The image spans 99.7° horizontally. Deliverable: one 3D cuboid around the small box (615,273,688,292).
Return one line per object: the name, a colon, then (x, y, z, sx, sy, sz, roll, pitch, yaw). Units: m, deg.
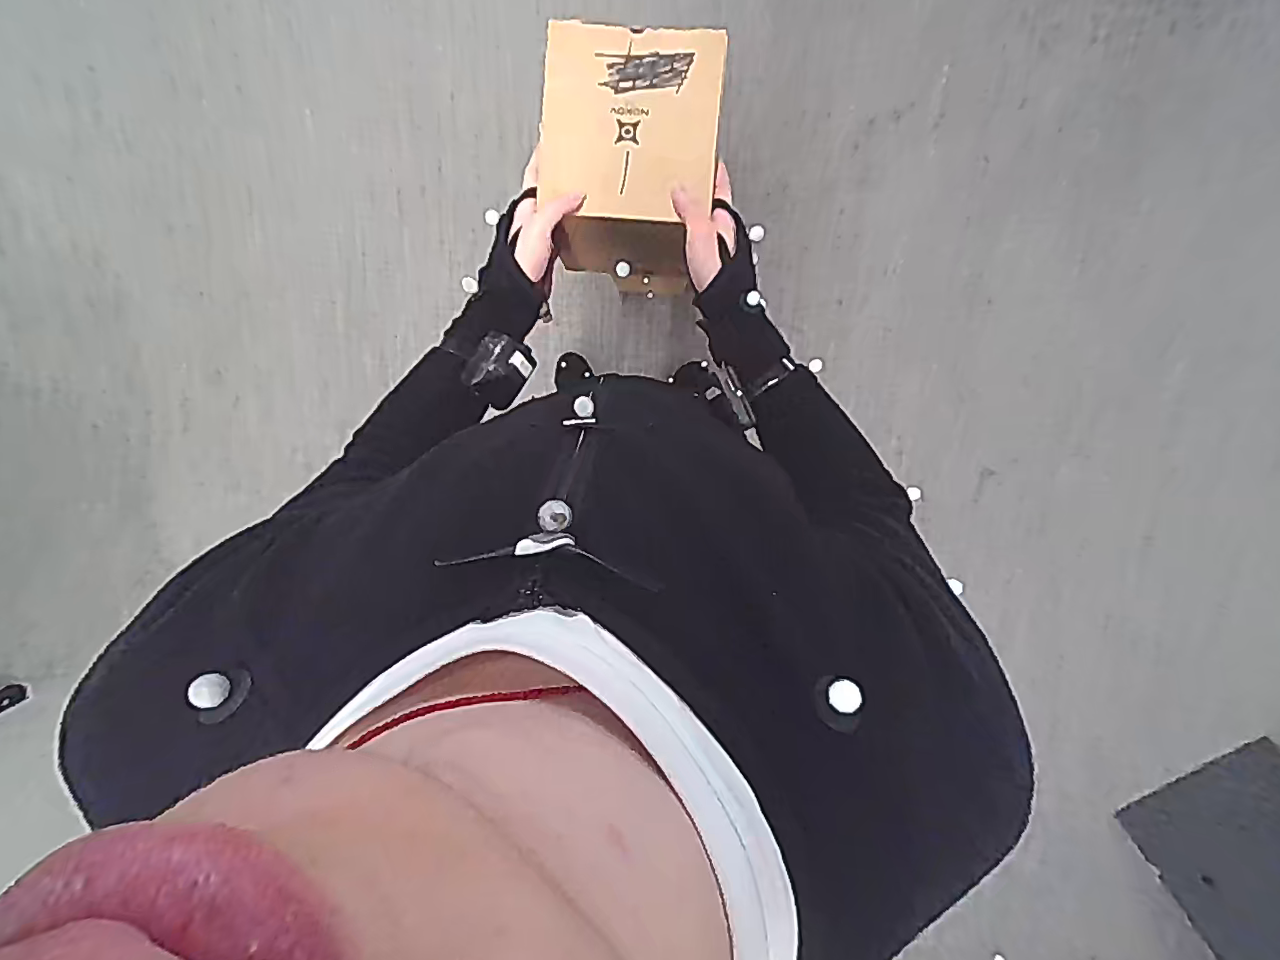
small box: (0.033, -0.576, 1.369, 0.179, 0.176, 0.168, 4, 102, 1)

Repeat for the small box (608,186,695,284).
small box: (0.026, -0.539, 1.210, 0.179, 0.176, 0.168, 3, 102, 1)
